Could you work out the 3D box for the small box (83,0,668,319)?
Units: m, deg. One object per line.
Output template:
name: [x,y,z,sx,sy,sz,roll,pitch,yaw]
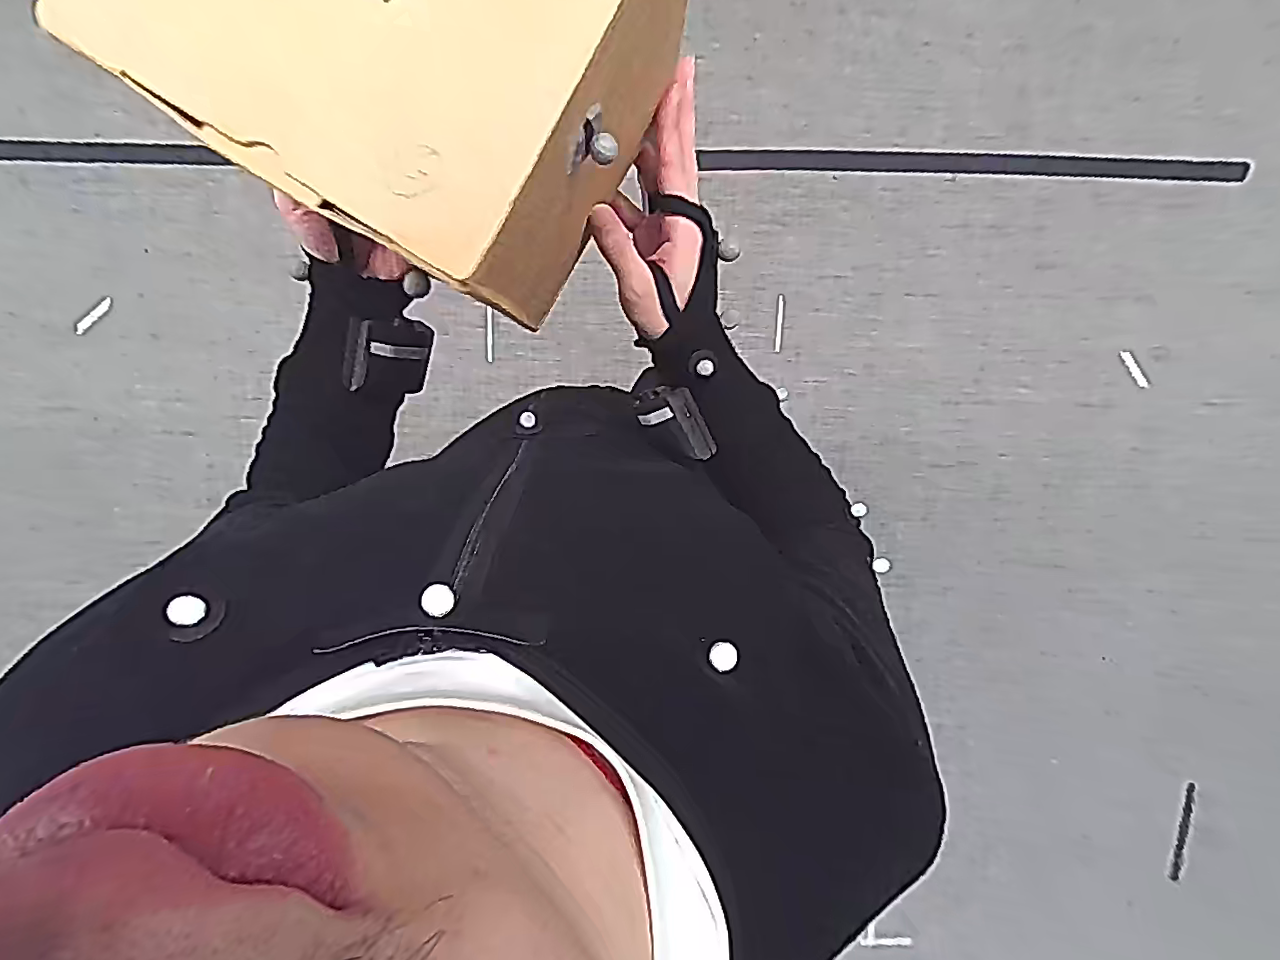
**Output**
small box: [-0.093,-0.201,0.272,0.168,0.176,0.179,30,98,-8]
